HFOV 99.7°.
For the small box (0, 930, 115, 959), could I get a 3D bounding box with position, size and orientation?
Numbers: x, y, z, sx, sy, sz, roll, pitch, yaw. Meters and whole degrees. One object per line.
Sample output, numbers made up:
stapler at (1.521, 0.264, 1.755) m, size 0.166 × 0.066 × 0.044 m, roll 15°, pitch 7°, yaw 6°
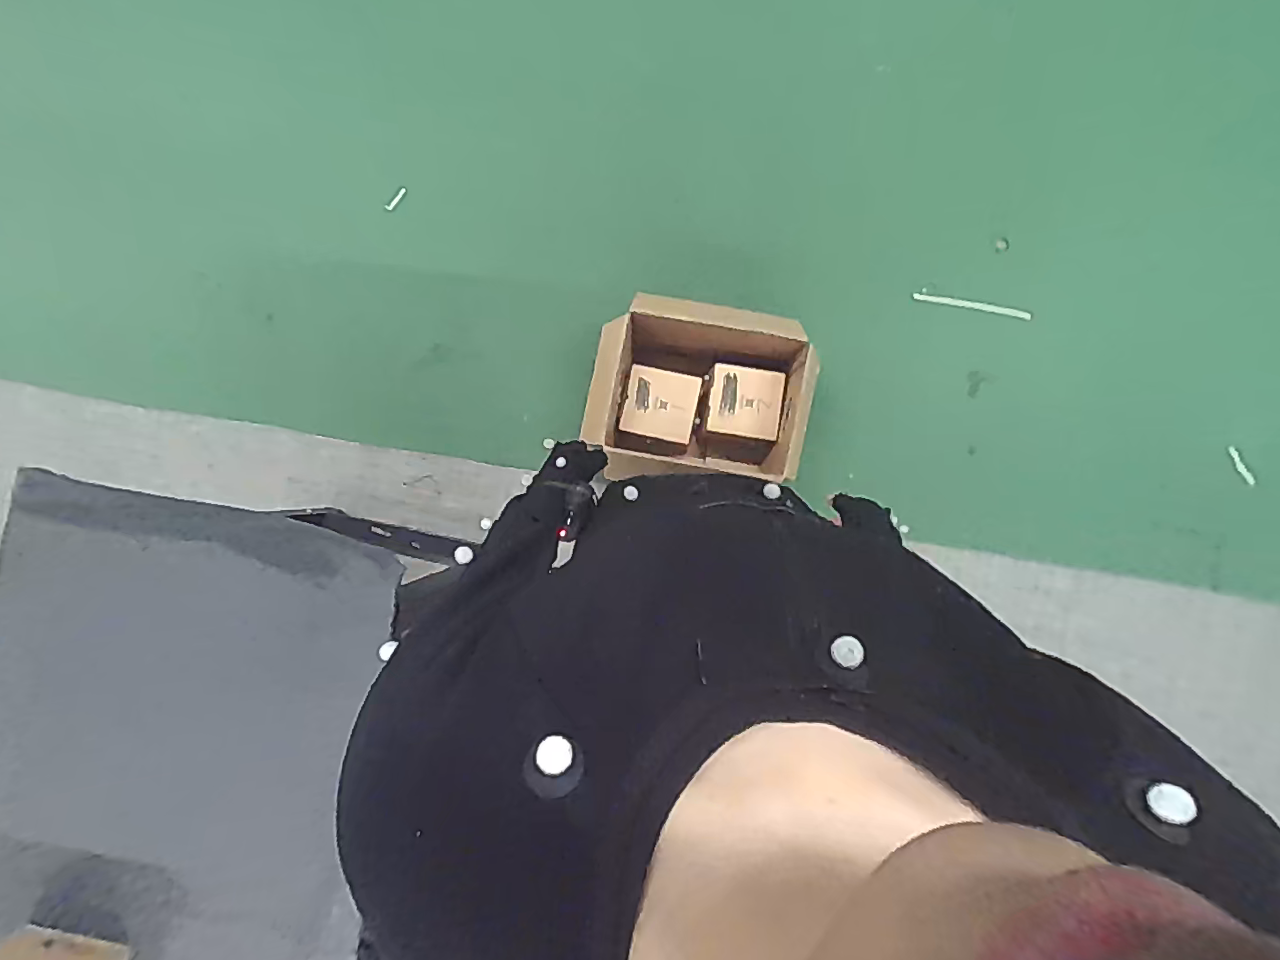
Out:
small box at (-0.825, 0.738, 0.695) m, size 0.168 × 0.176 × 0.179 m, roll 10°, pitch 90°, yaw 3°
